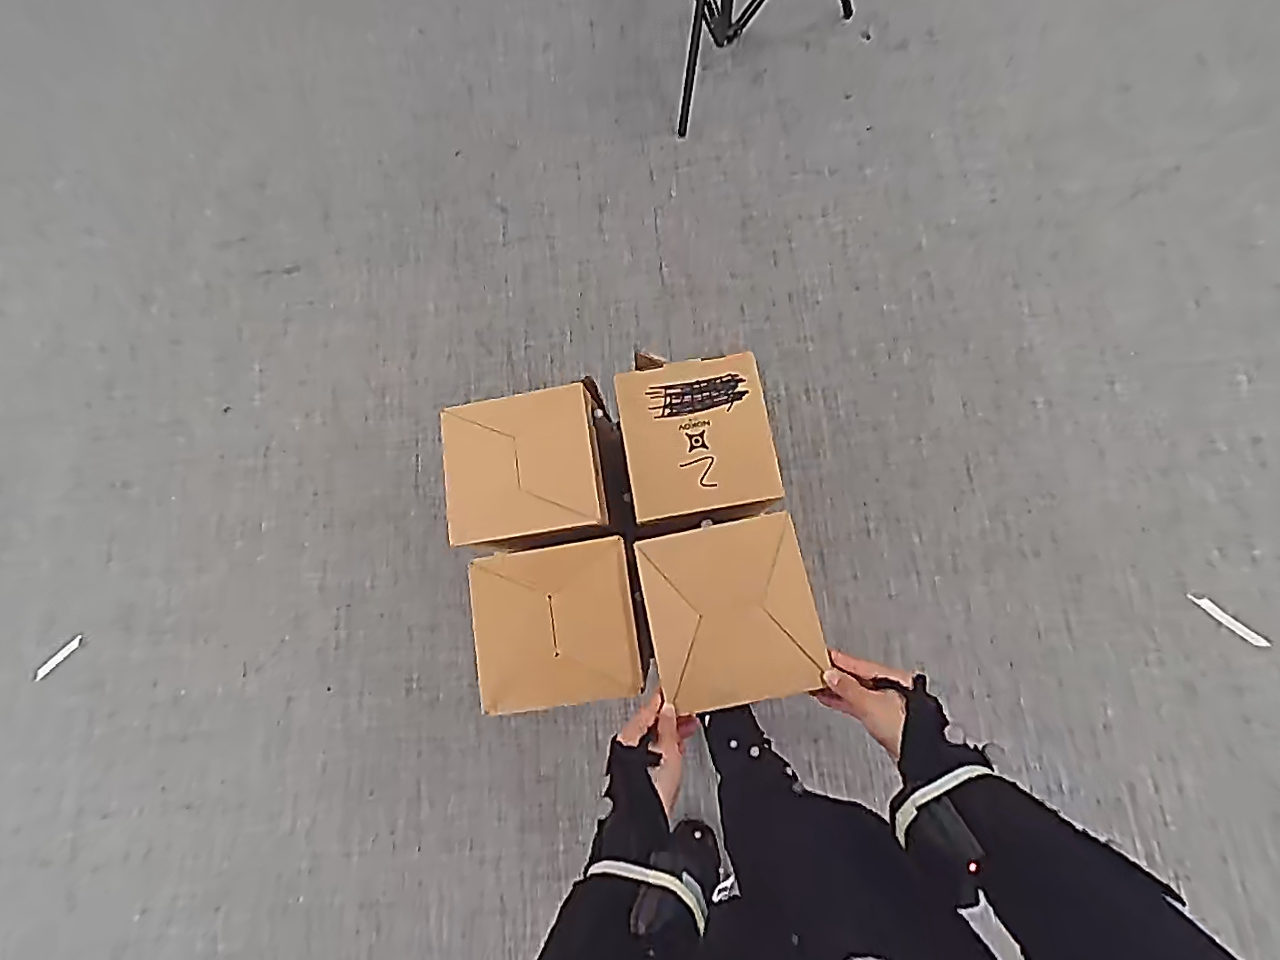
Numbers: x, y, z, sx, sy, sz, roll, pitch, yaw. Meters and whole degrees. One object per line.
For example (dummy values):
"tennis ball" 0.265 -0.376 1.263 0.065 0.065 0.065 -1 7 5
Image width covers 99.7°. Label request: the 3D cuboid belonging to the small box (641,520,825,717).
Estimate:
"small box" 0.097 0.155 0.620 0.168 0.176 0.179 -12 77 0
